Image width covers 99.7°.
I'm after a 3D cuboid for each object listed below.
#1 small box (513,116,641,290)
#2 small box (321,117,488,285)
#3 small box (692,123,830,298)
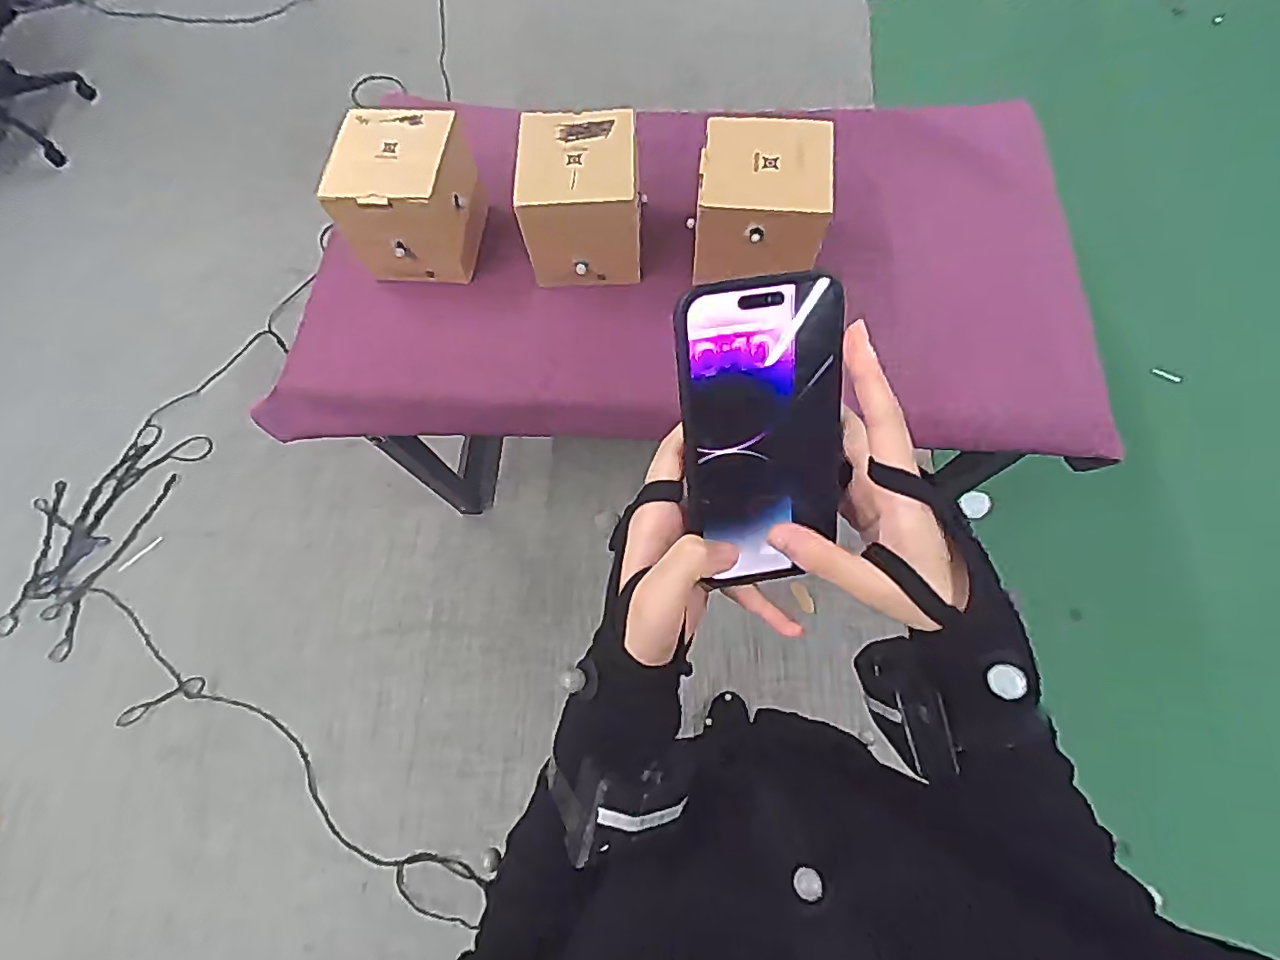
[{"bbox_3d":[-0.086,-0.416,0.829,0.168,0.176,0.179,-1,70,3],"label":"small box"},{"bbox_3d":[-0.353,-0.430,0.849,0.168,0.176,0.179,4,70,5],"label":"small box"},{"bbox_3d":[0.172,-0.393,0.806,0.179,0.176,0.168,6,70,6],"label":"small box"}]
